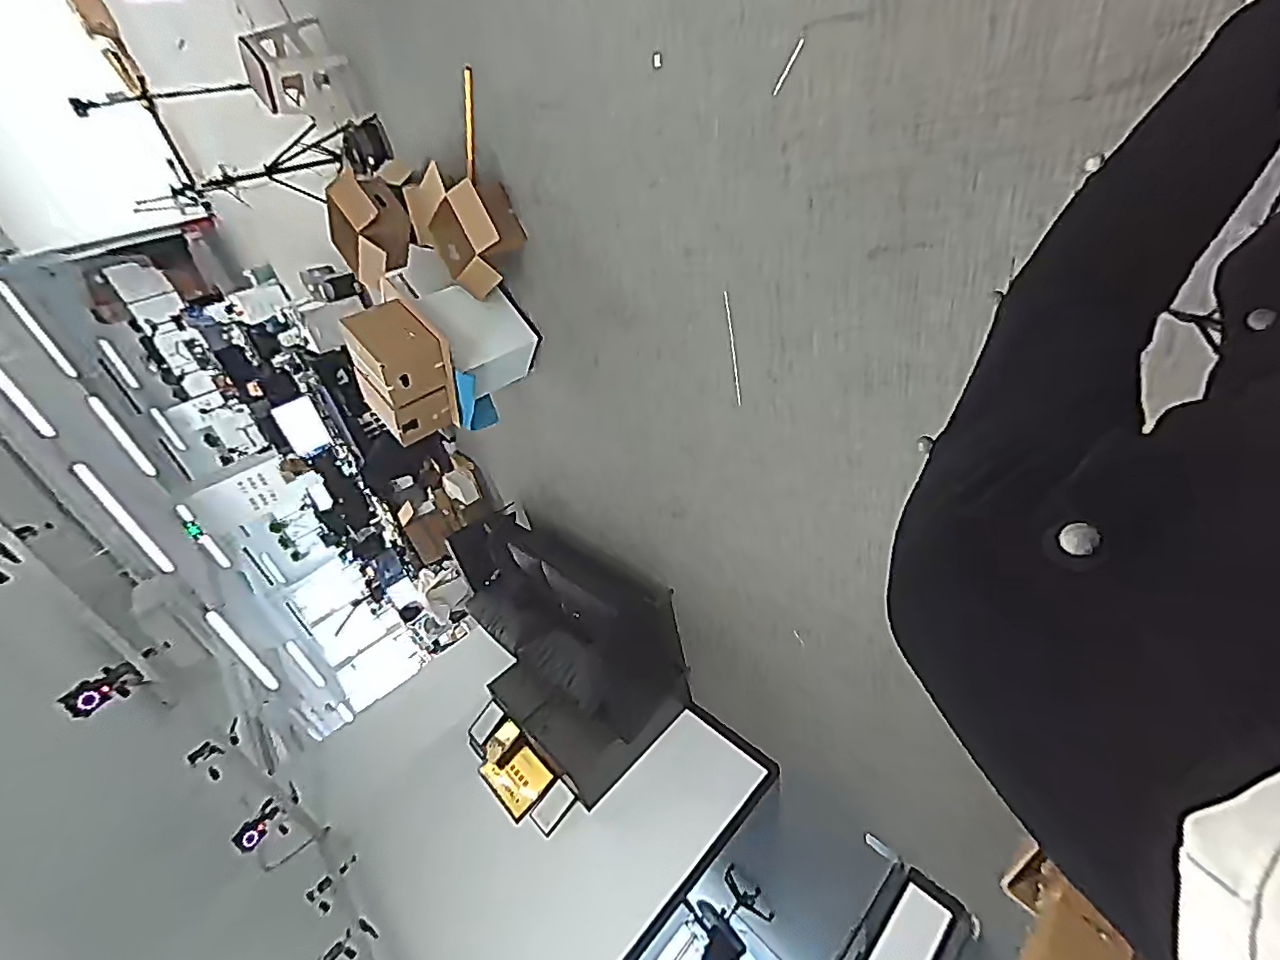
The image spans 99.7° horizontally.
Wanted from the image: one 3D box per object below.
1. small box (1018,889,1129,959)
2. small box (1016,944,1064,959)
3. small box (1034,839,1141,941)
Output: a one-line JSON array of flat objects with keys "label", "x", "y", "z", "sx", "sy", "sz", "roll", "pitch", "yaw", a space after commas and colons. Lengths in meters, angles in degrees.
[{"label": "small box", "x": 1.162, "y": 1.254, "z": 1.449, "sx": 0.168, "sy": 0.176, "sz": 0.179, "roll": 30, "pitch": 141, "yaw": 35}, {"label": "small box", "x": 1.046, "y": 1.336, "z": 1.369, "sx": 0.168, "sy": 0.176, "sz": 0.179, "roll": 30, "pitch": 141, "yaw": 35}, {"label": "small box", "x": 1.273, "y": 1.173, "z": 1.535, "sx": 0.168, "sy": 0.176, "sz": 0.179, "roll": 31, "pitch": 142, "yaw": 34}]
